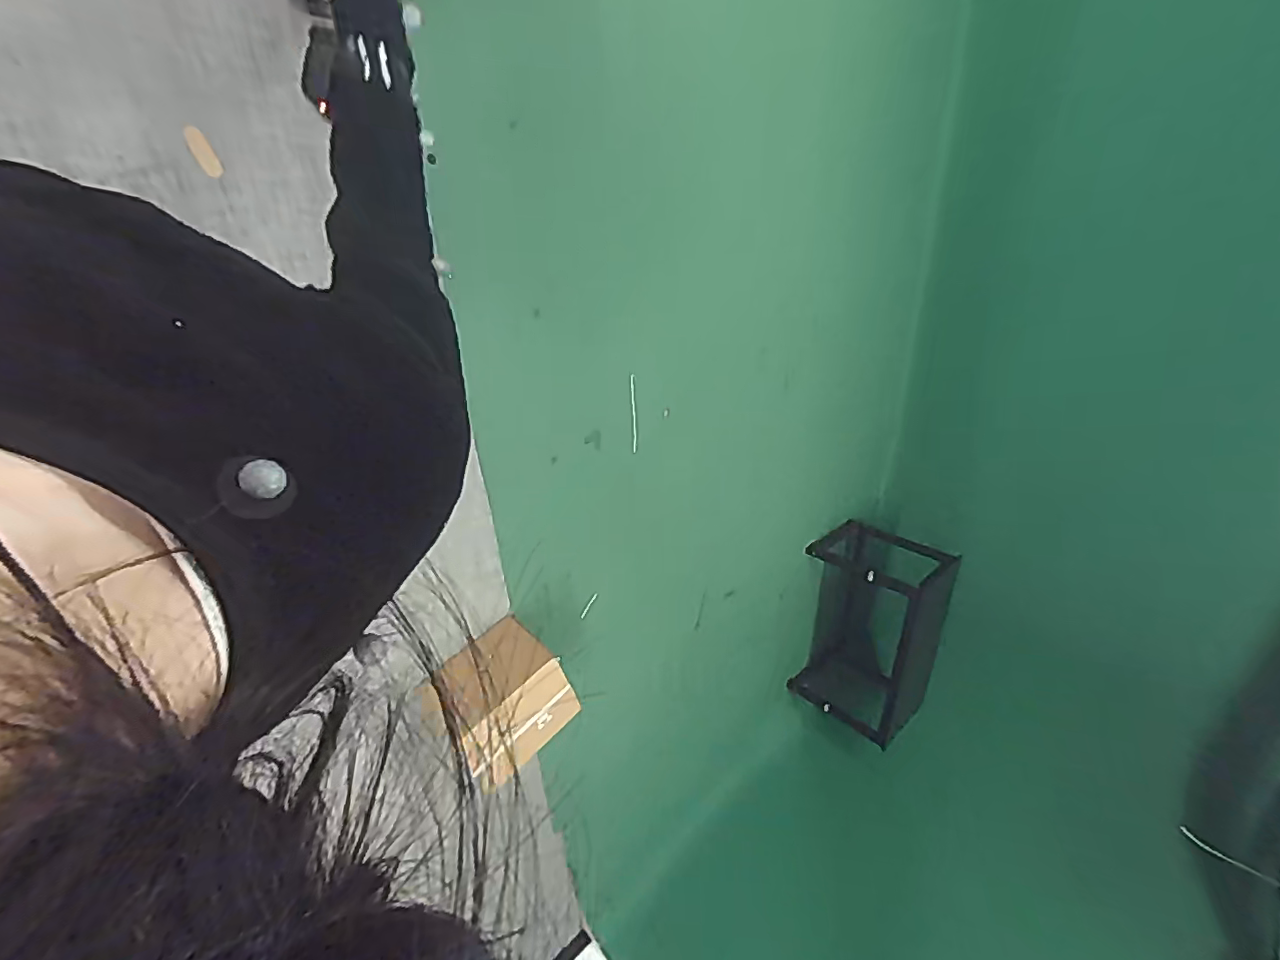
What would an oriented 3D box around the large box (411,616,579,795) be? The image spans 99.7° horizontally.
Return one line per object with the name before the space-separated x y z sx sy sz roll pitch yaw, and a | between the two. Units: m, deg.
large box | -0.491 0.756 1.859 0.408 0.320 0.320 -38 131 -29
